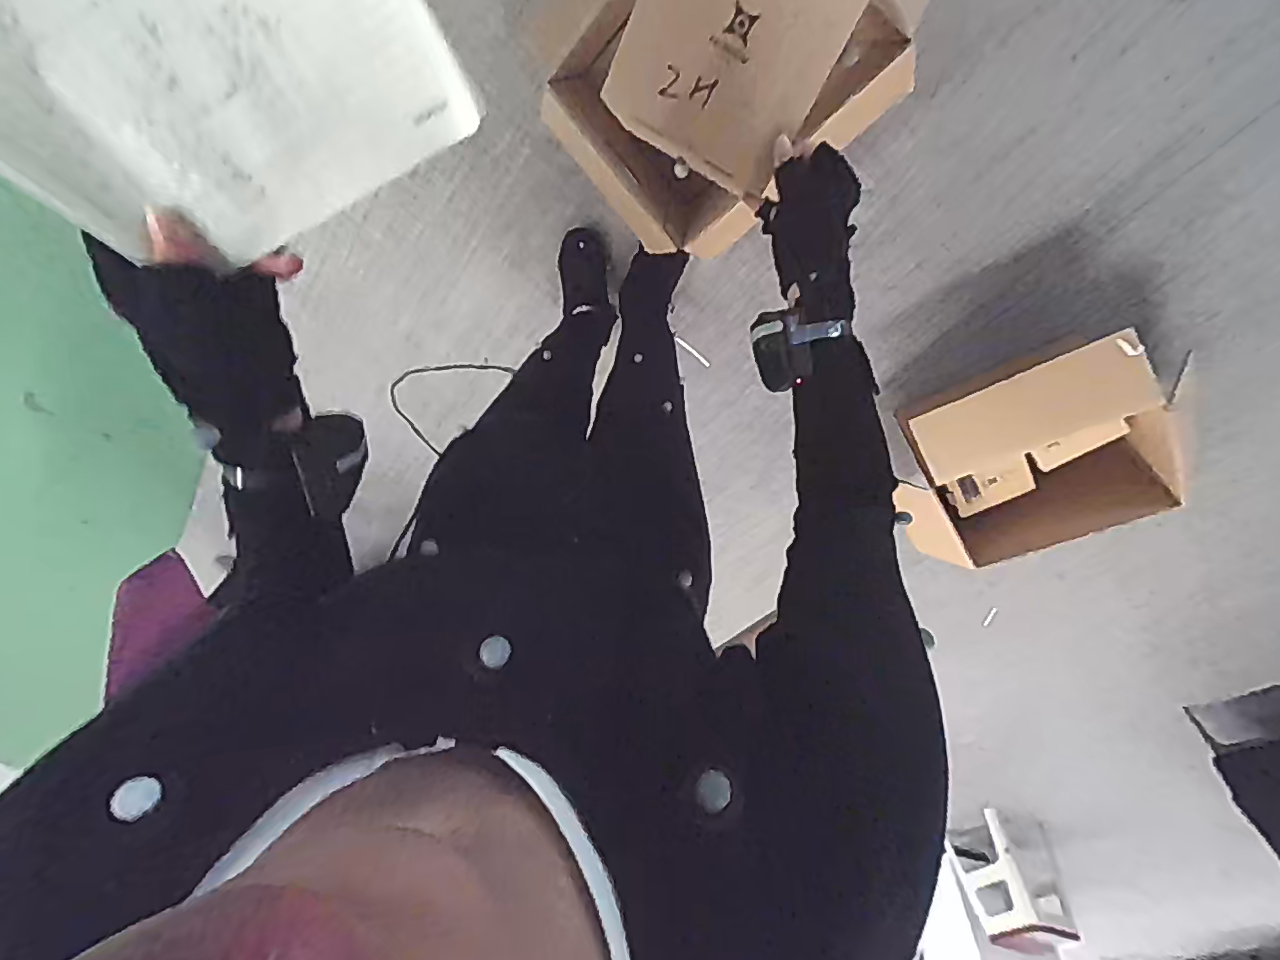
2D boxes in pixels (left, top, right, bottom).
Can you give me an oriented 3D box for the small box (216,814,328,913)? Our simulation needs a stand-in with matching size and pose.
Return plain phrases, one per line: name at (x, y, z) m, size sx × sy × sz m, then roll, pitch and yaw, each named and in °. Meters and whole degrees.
small box at (-0.968, 1.016, 1.437) m, size 0.168 × 0.176 × 0.179 m, roll 35°, pitch 123°, yaw -21°
